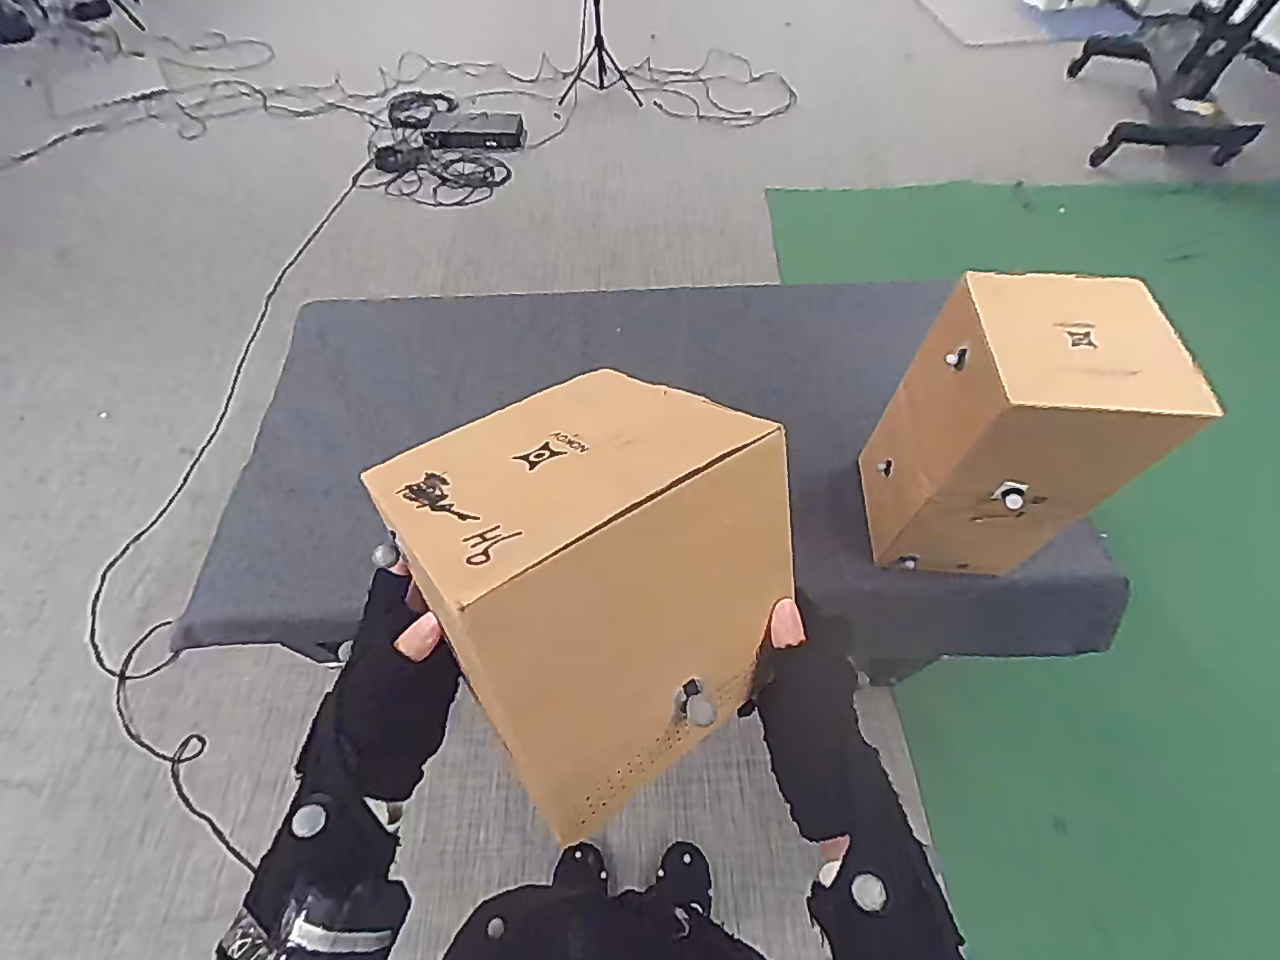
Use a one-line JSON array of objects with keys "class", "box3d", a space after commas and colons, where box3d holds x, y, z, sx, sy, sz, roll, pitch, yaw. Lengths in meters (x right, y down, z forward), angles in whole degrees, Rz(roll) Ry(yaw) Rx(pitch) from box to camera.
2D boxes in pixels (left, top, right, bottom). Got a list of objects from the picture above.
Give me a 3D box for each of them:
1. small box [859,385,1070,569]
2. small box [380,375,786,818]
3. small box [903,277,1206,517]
[{"class": "small box", "box3d": [0.398, 0.002, 0.697, 0.168, 0.176, 0.179, 4, 56, 4]}, {"class": "small box", "box3d": [-0.028, 0.054, 0.339, 0.179, 0.176, 0.168, -28, 33, -26]}, {"class": "small box", "box3d": [0.393, -0.082, 0.559, 0.168, 0.176, 0.179, 4, 58, 5]}]
